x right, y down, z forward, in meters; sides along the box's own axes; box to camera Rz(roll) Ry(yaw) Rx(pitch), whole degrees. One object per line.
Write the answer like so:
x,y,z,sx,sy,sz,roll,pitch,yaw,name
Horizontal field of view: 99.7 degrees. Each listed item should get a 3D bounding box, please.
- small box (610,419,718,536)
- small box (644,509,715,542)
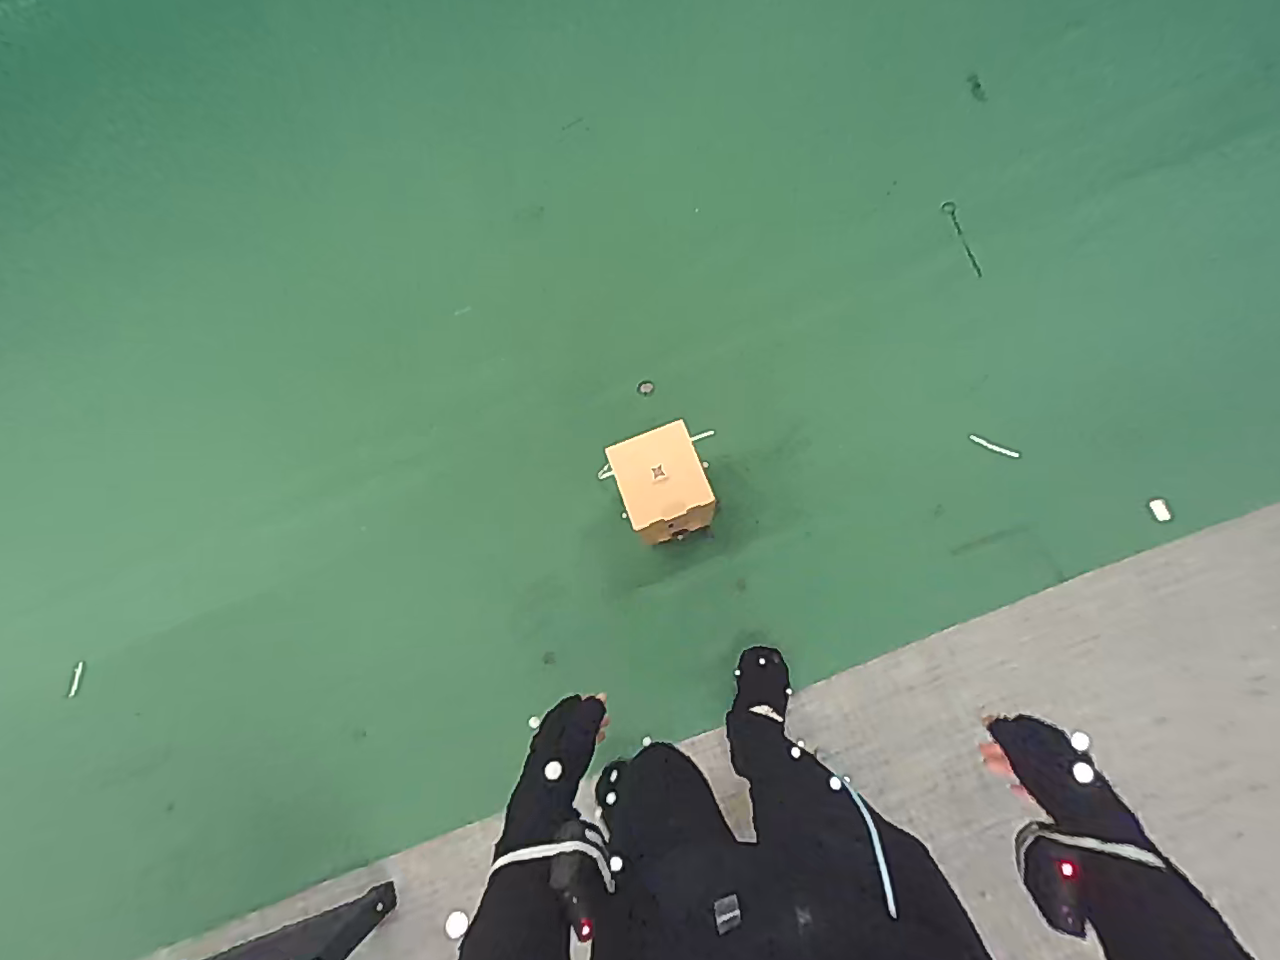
0.050,0.002,1.116,0.168,0.176,0.179,-22,77,1,small box
0.068,0.035,1.275,0.168,0.176,0.179,-20,77,2,small box
